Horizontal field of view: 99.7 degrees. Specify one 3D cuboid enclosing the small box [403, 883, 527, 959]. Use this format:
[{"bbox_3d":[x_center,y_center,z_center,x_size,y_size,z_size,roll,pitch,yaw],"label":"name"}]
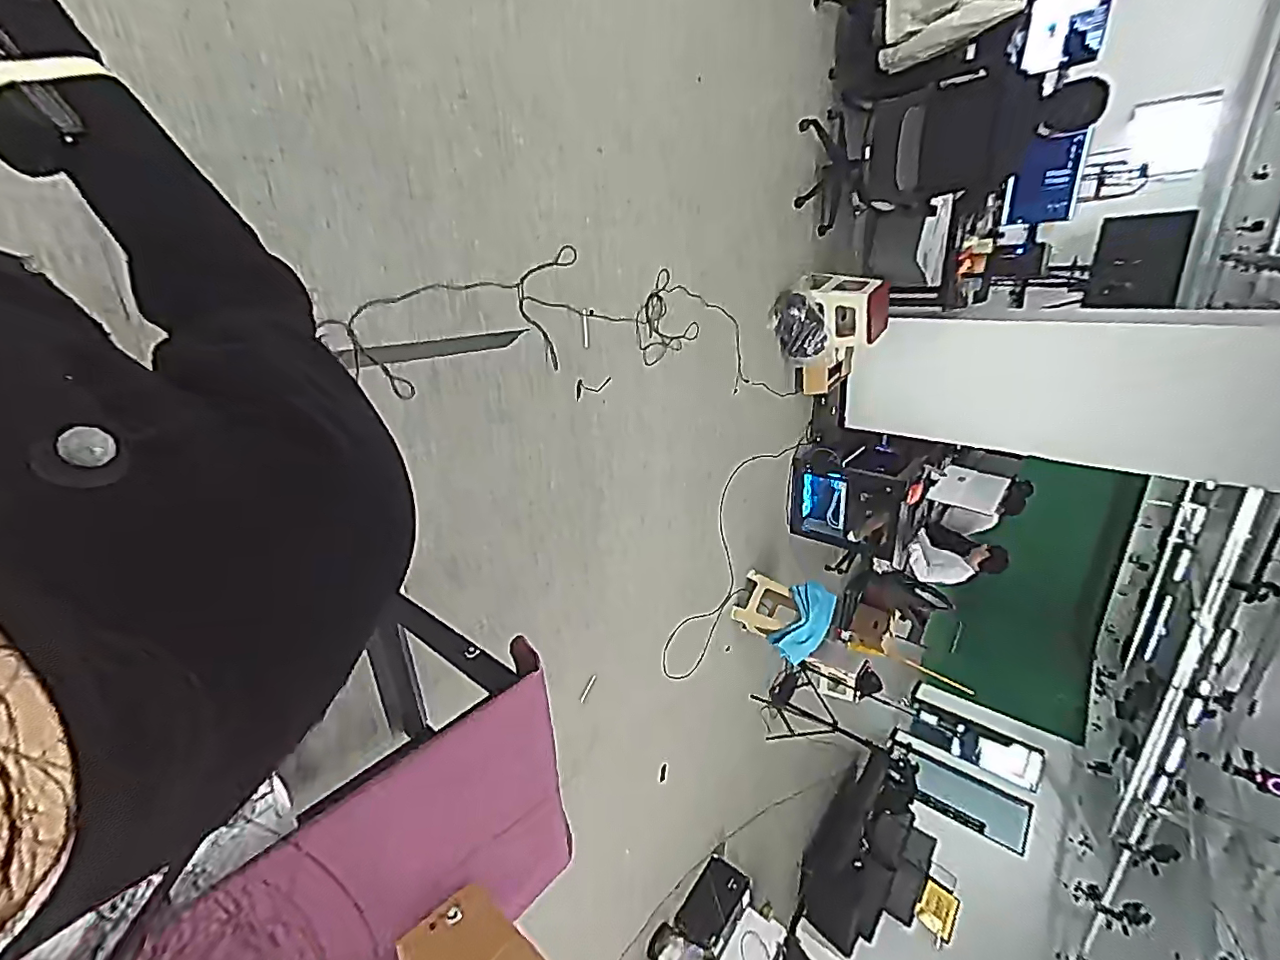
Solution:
[{"bbox_3d":[-0.335,0.946,1.046,0.168,0.176,0.179,-19,114,-48],"label":"small box"}]
